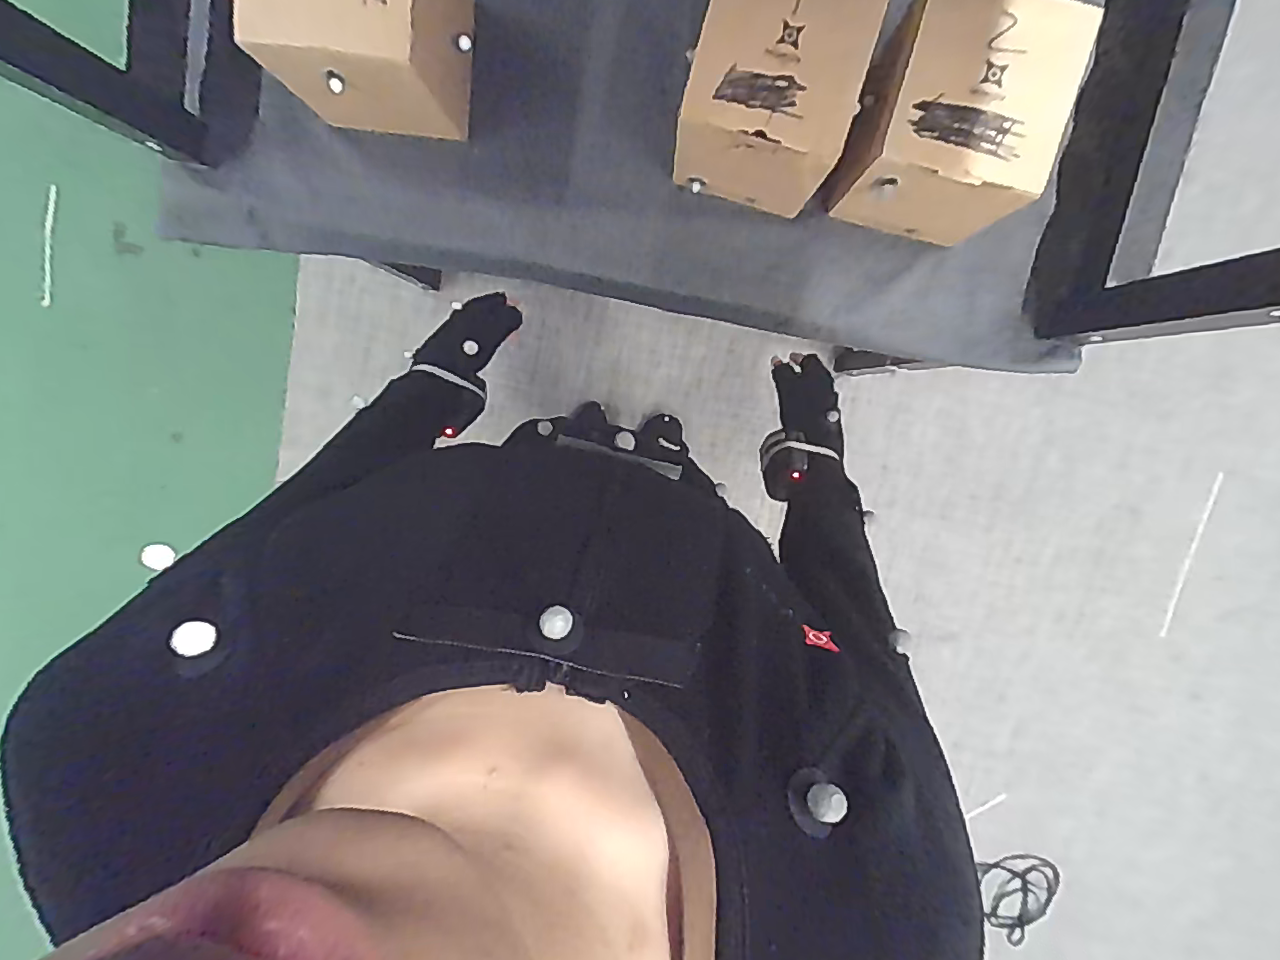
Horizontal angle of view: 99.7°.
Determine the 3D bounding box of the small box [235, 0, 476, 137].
[{"bbox_3d":[-0.298,-0.508,0.595,0.179,0.176,0.168,7,99,-1],"label":"small box"}]
